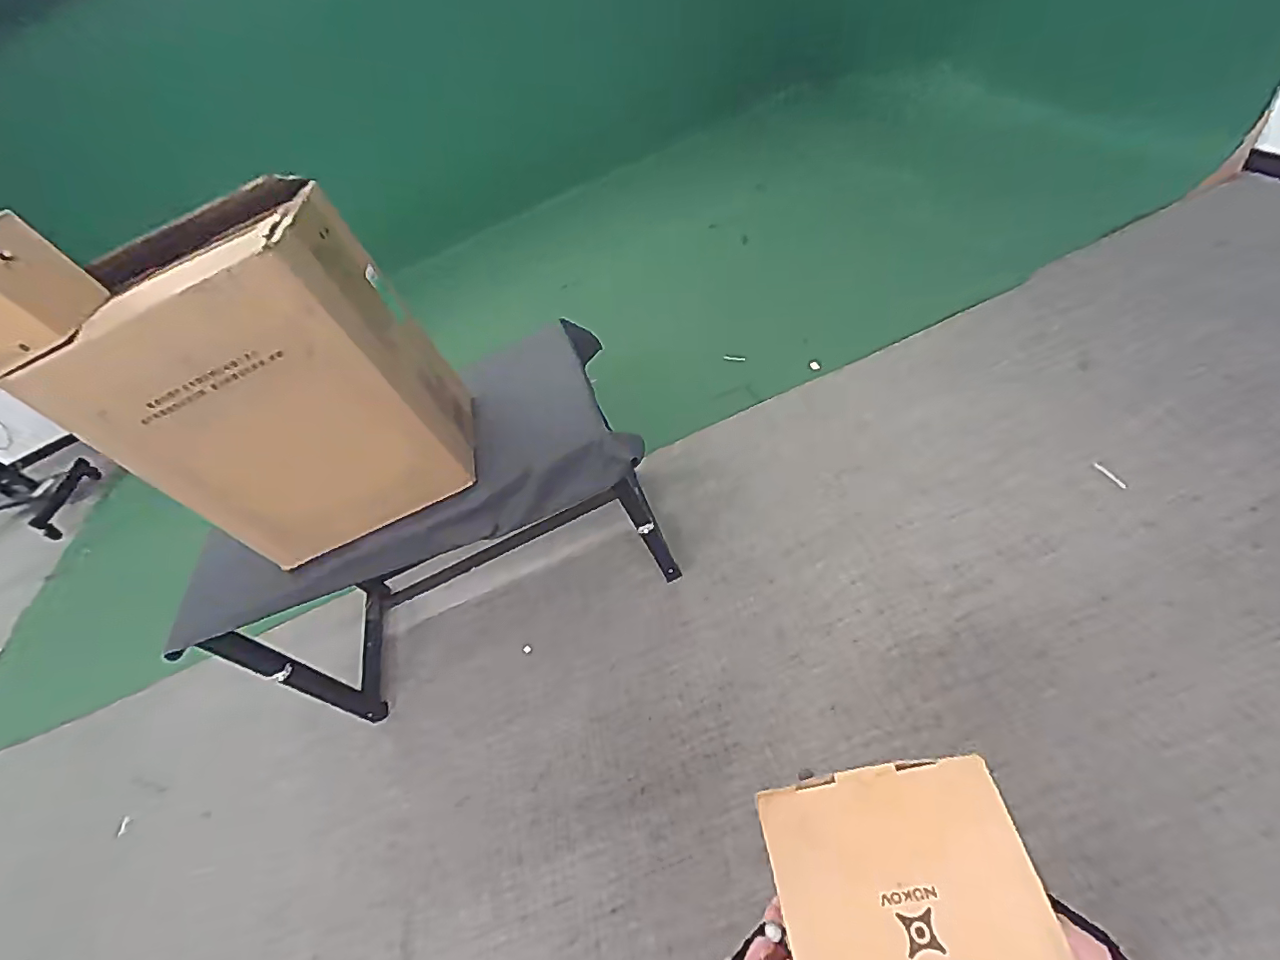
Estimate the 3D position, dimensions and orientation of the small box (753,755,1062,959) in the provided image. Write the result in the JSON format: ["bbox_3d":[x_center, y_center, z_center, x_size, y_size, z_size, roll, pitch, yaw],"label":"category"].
[{"bbox_3d":[0.186,0.327,0.411,0.168,0.176,0.179,-13,56,6],"label":"small box"}]

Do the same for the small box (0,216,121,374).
[{"bbox_3d":[-1.049,-0.303,0.912,0.168,0.176,0.179,-24,45,6],"label":"small box"}]
